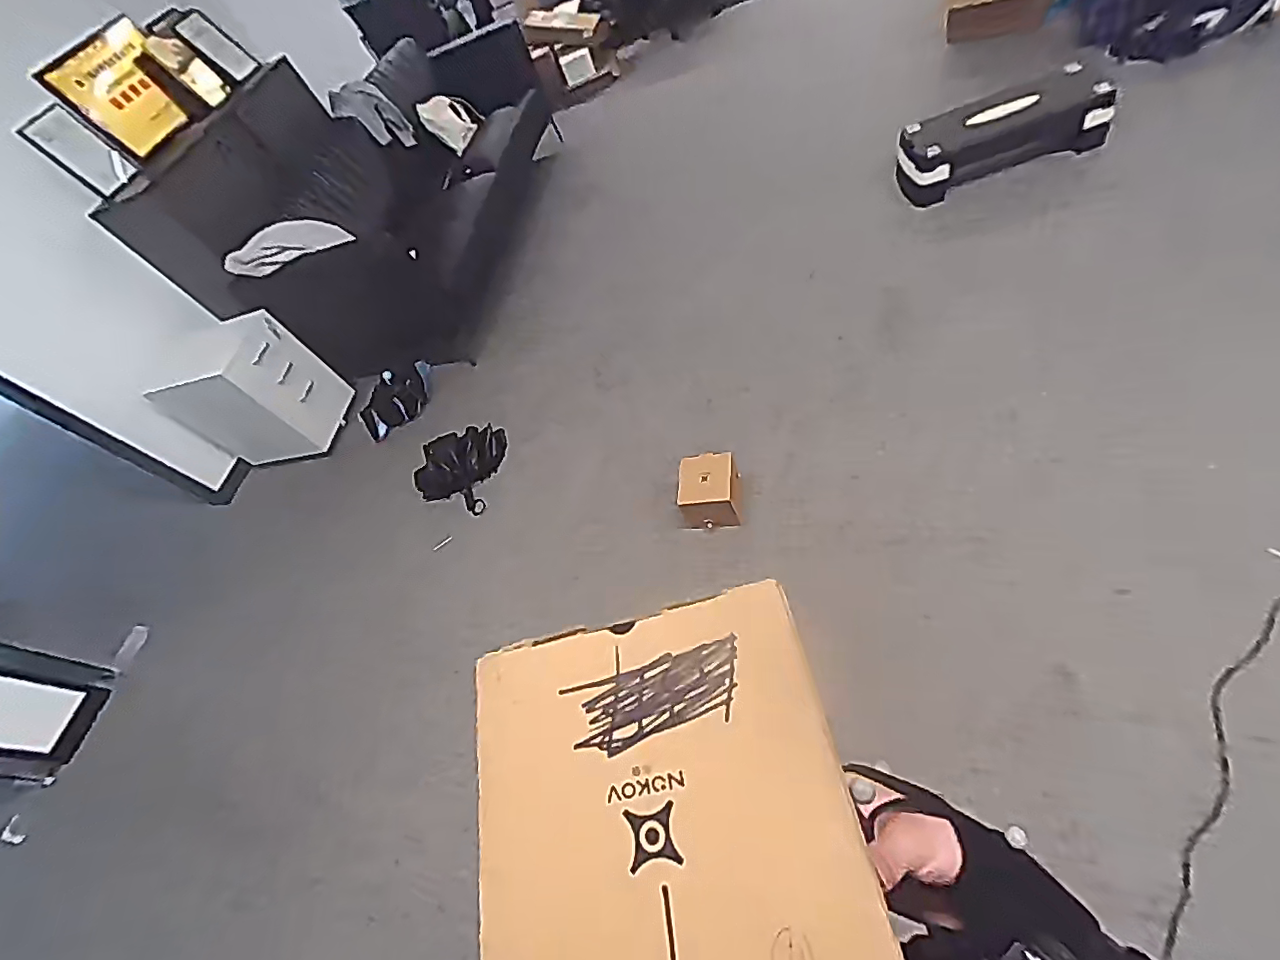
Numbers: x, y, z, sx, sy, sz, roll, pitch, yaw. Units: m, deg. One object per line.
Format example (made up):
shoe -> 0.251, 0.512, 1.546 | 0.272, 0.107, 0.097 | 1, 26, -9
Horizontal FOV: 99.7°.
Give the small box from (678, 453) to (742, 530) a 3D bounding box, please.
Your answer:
small box -> 0.227, 0.040, 1.724 | 0.168, 0.176, 0.179 | -8, 56, 21
